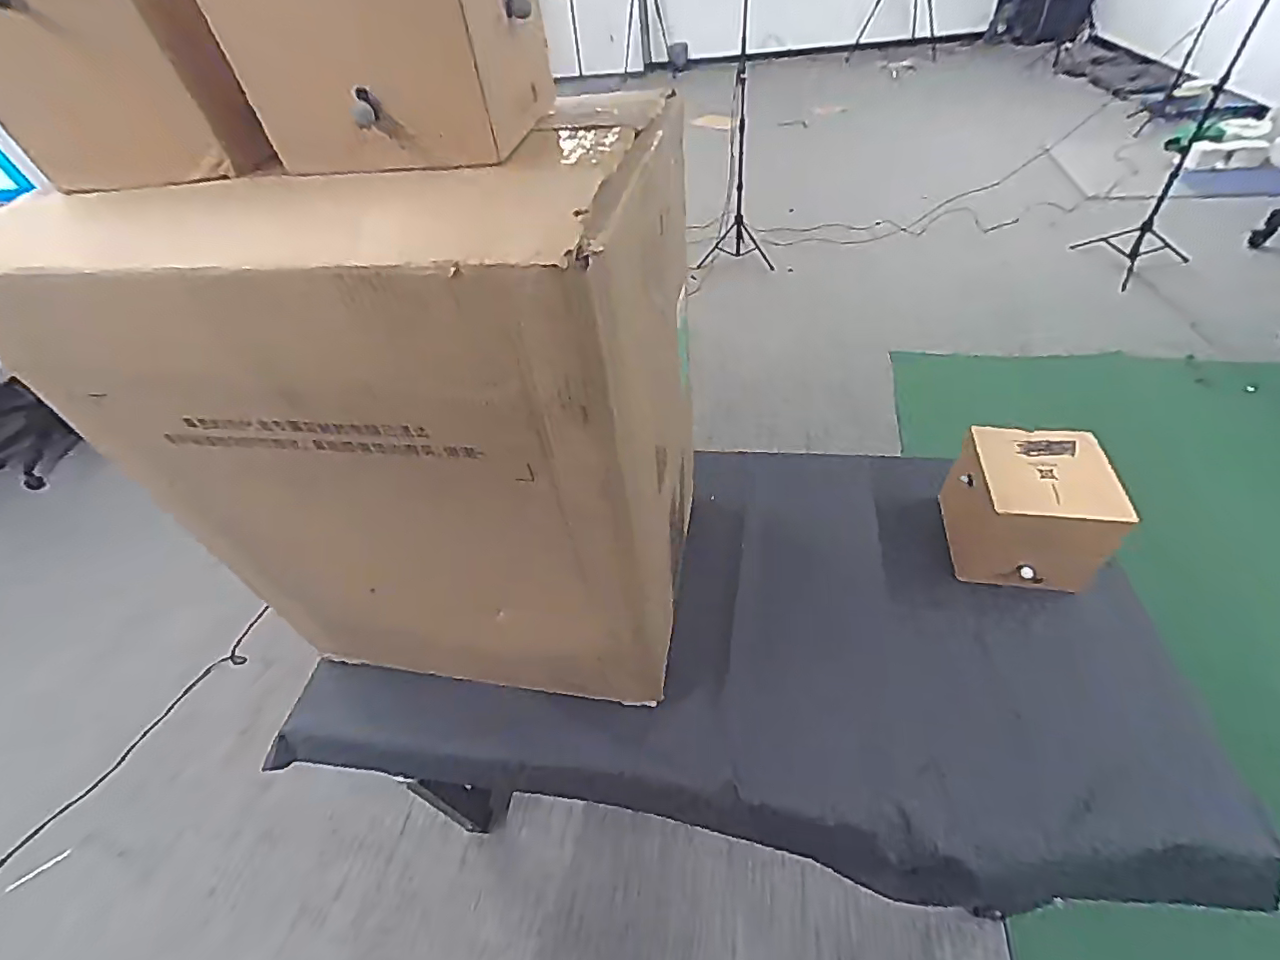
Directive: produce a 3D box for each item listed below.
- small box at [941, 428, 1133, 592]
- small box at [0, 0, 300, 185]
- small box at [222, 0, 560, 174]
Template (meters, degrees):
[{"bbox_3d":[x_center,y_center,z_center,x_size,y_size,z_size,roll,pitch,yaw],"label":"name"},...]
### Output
[{"bbox_3d":[0.579,0.044,0.823,0.168,0.176,0.179,4,48,12],"label":"small box"},{"bbox_3d":[-0.388,-0.356,0.437,0.179,0.176,0.168,1,50,8],"label":"small box"},{"bbox_3d":[-0.169,-0.345,0.399,0.179,0.176,0.168,3,48,8],"label":"small box"}]
